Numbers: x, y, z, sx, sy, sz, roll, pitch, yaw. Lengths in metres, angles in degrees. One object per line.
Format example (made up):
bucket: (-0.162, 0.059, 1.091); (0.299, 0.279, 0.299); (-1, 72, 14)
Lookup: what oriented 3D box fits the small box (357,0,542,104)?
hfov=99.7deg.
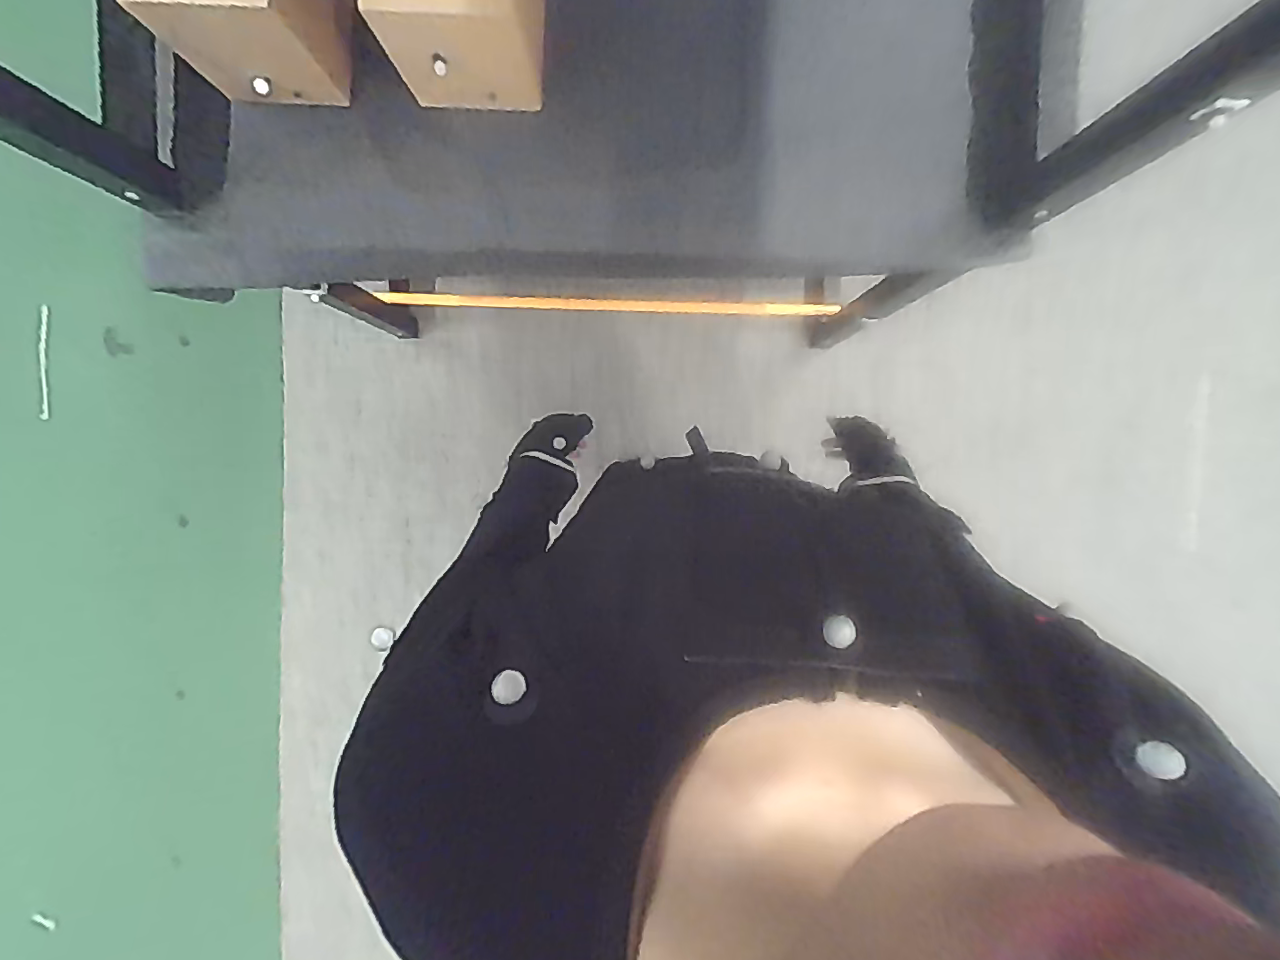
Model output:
small box: (-0.215, -0.588, 0.646); (0.168, 0.176, 0.179); (2, 93, 0)

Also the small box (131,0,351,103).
small box: (-0.467, -0.596, 0.643); (0.168, 0.176, 0.179); (3, 94, 0)
